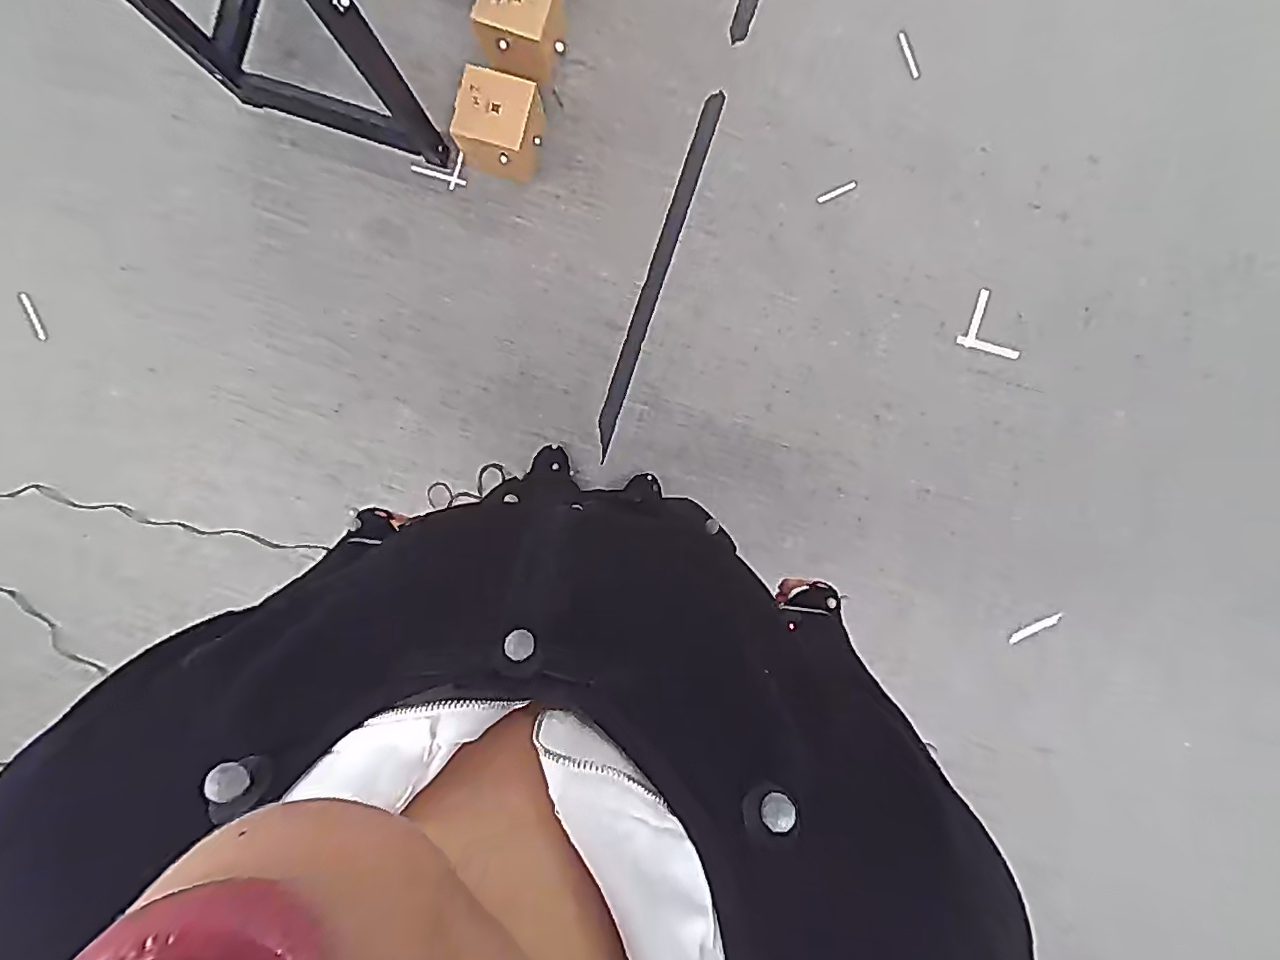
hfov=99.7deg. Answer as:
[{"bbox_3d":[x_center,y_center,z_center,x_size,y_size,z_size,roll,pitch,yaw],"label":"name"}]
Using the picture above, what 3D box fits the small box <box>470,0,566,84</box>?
[{"bbox_3d":[-0.298,-1.147,1.359,0.179,0.176,0.168,17,93,-2],"label":"small box"}]
